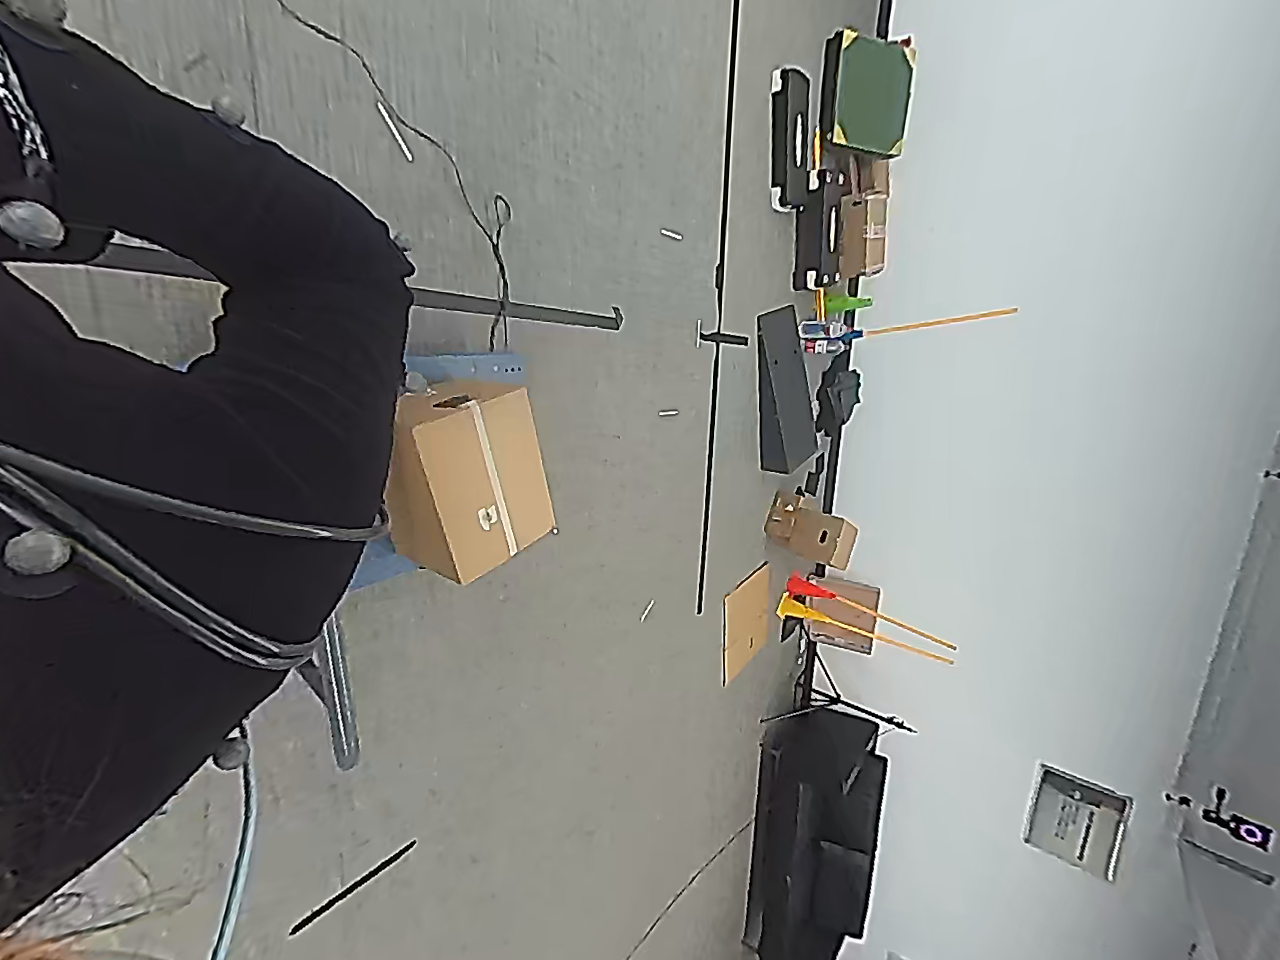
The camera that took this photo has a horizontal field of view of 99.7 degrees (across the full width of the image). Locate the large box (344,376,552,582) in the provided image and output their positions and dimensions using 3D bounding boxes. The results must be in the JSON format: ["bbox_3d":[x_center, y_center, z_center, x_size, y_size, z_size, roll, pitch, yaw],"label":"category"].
[{"bbox_3d":[-0.474,-0.021,1.378,0.320,0.320,0.408,-33,125,-42],"label":"large box"}]
